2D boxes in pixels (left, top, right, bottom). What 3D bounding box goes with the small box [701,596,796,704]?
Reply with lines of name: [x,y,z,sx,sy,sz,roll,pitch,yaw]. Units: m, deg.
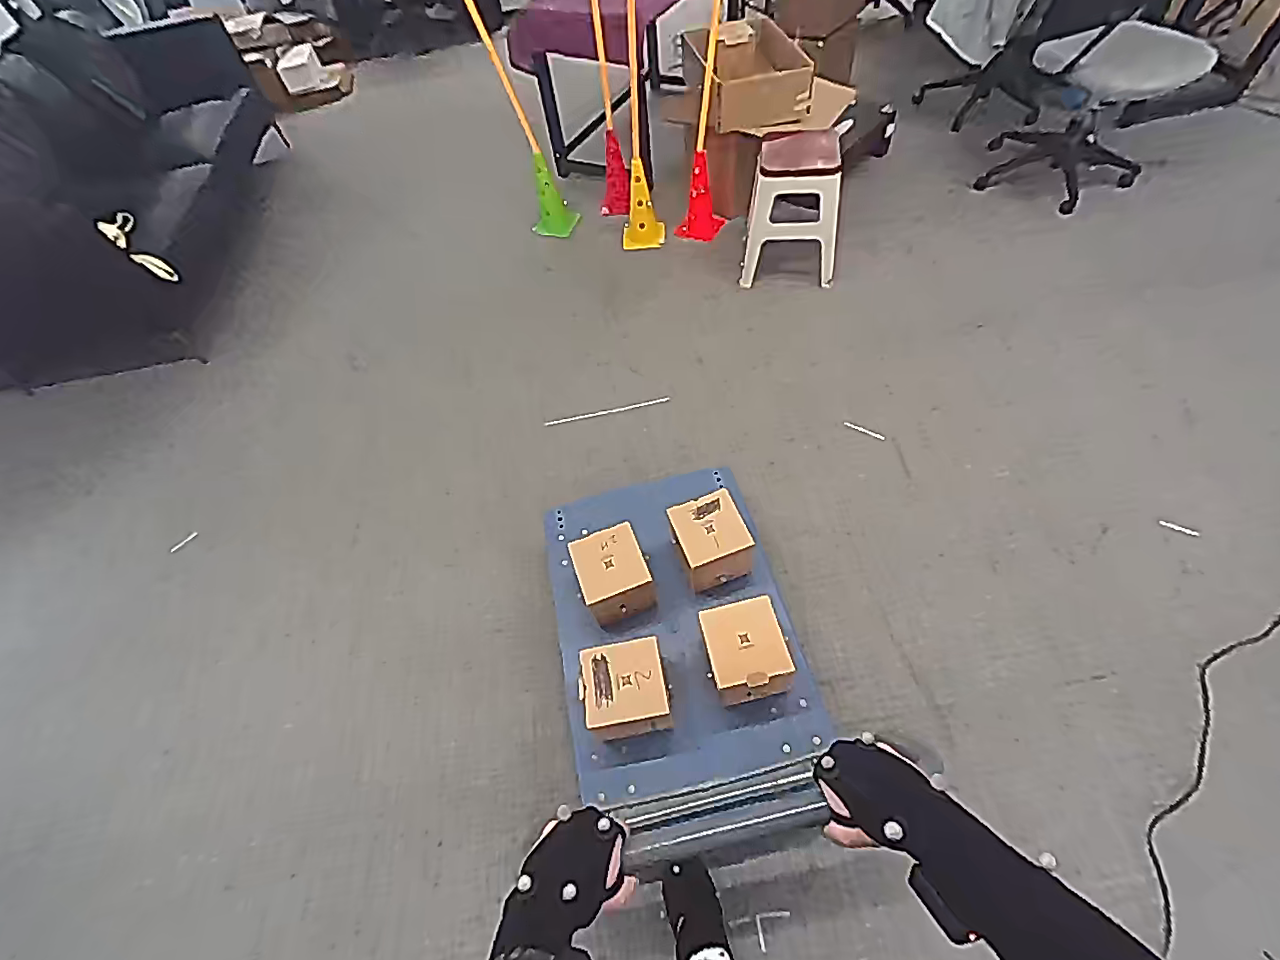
small box: [0.238,0.390,1.234,0.168,0.176,0.179,-14,56,-1]

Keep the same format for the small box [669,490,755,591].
small box: [0.182,0.159,1.394,0.168,0.176,0.179,-20,57,-4]

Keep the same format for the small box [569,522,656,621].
small box: [-0.064,0.241,1.373,0.168,0.176,0.179,-19,56,-6]
